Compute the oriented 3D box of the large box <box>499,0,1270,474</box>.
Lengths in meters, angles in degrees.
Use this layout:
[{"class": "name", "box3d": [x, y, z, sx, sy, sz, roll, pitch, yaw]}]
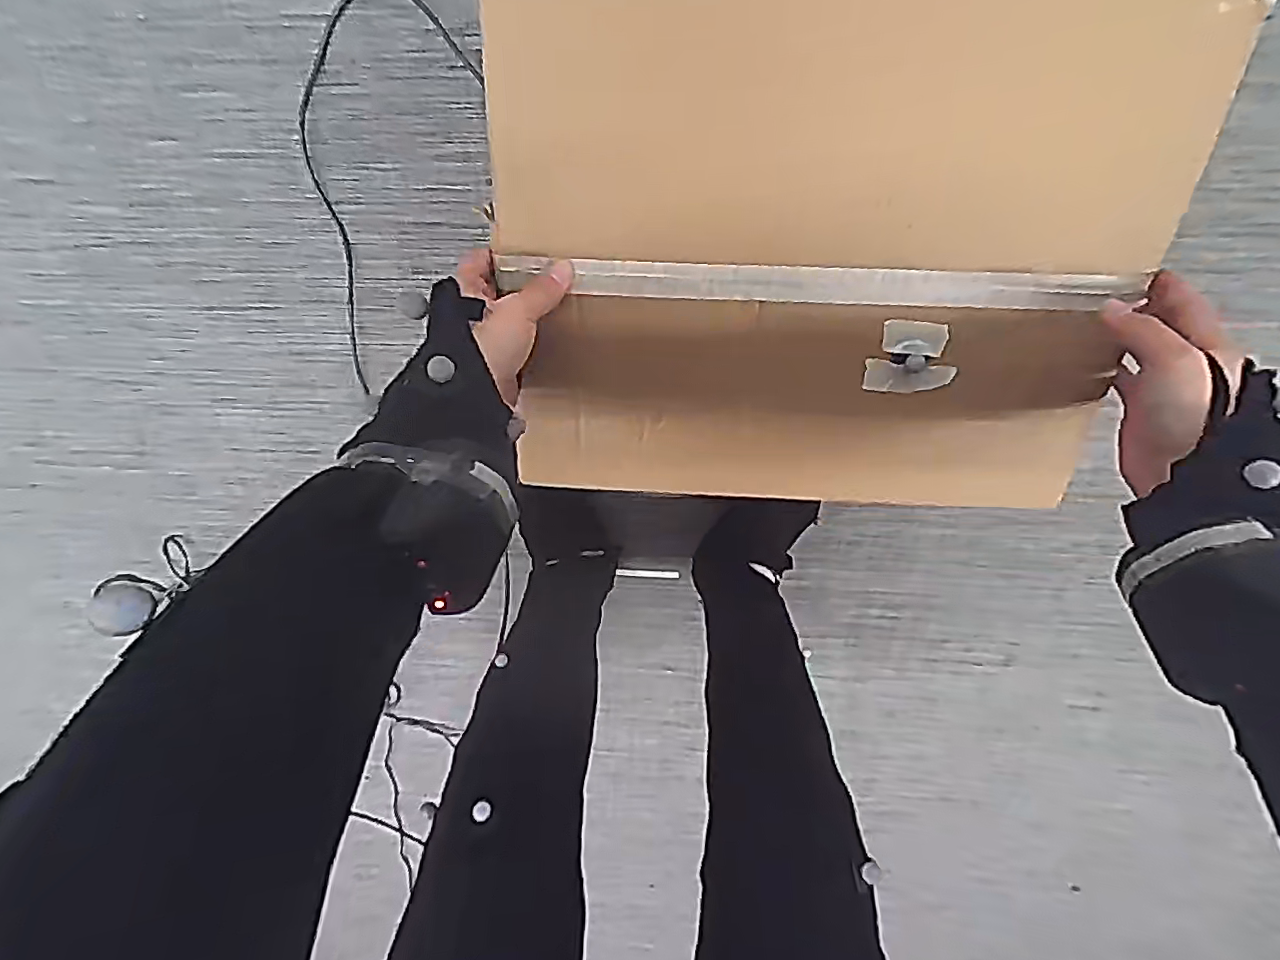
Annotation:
[{"class": "large box", "box3d": [0.125, -0.211, 0.467, 0.408, 0.320, 0.320, 2, 117, 1]}]
